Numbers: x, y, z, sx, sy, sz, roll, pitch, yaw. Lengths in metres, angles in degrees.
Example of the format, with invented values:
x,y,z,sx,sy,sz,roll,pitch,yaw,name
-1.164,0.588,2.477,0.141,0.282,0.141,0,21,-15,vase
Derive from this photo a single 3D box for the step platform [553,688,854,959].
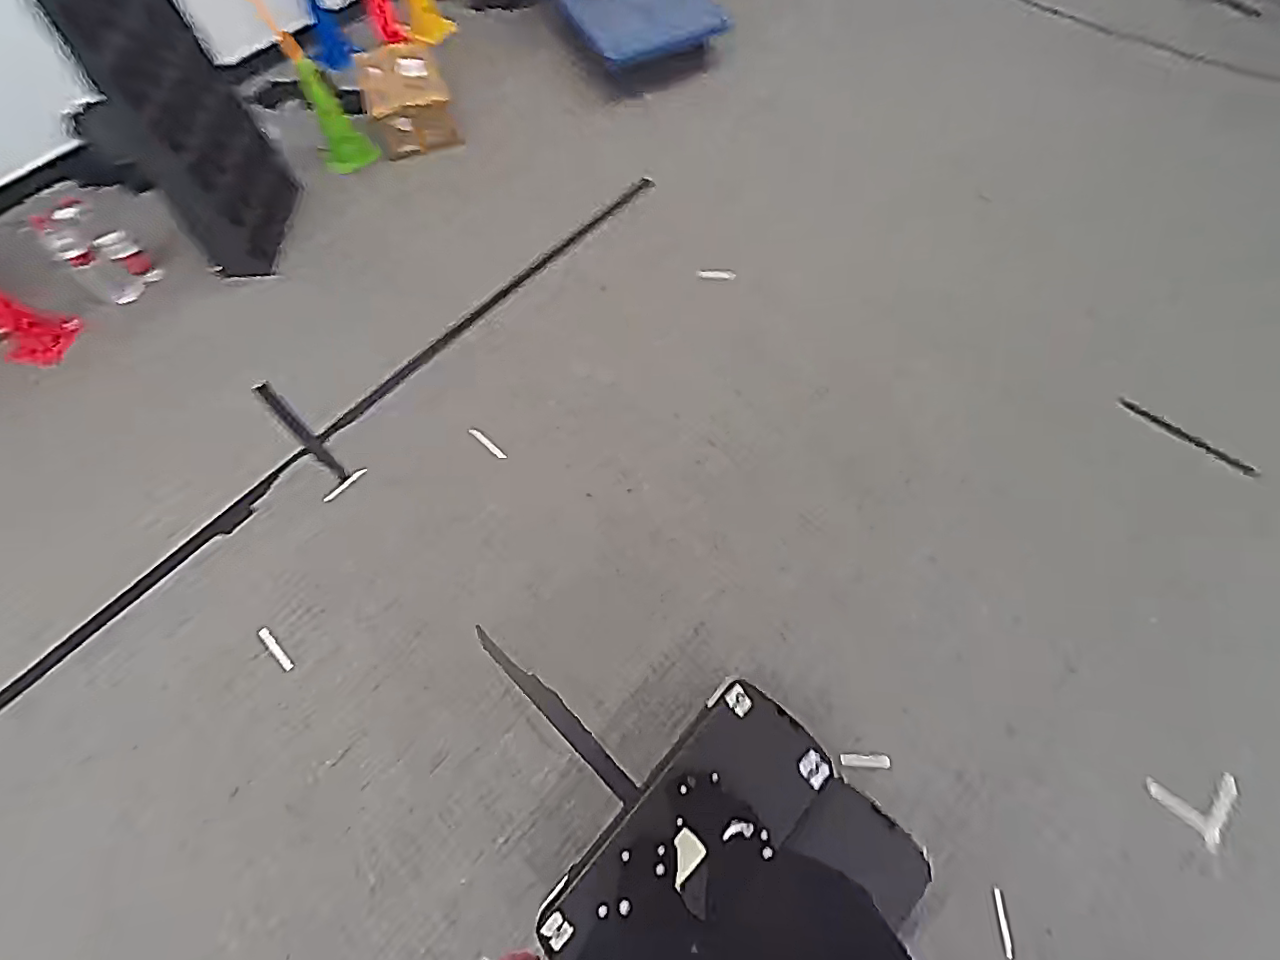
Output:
x,y,z,sx,sy,sz,roll,pitch,yaw,name
0.144,0.787,1.168,0.684,0.204,0.286,-41,69,-17,step platform
